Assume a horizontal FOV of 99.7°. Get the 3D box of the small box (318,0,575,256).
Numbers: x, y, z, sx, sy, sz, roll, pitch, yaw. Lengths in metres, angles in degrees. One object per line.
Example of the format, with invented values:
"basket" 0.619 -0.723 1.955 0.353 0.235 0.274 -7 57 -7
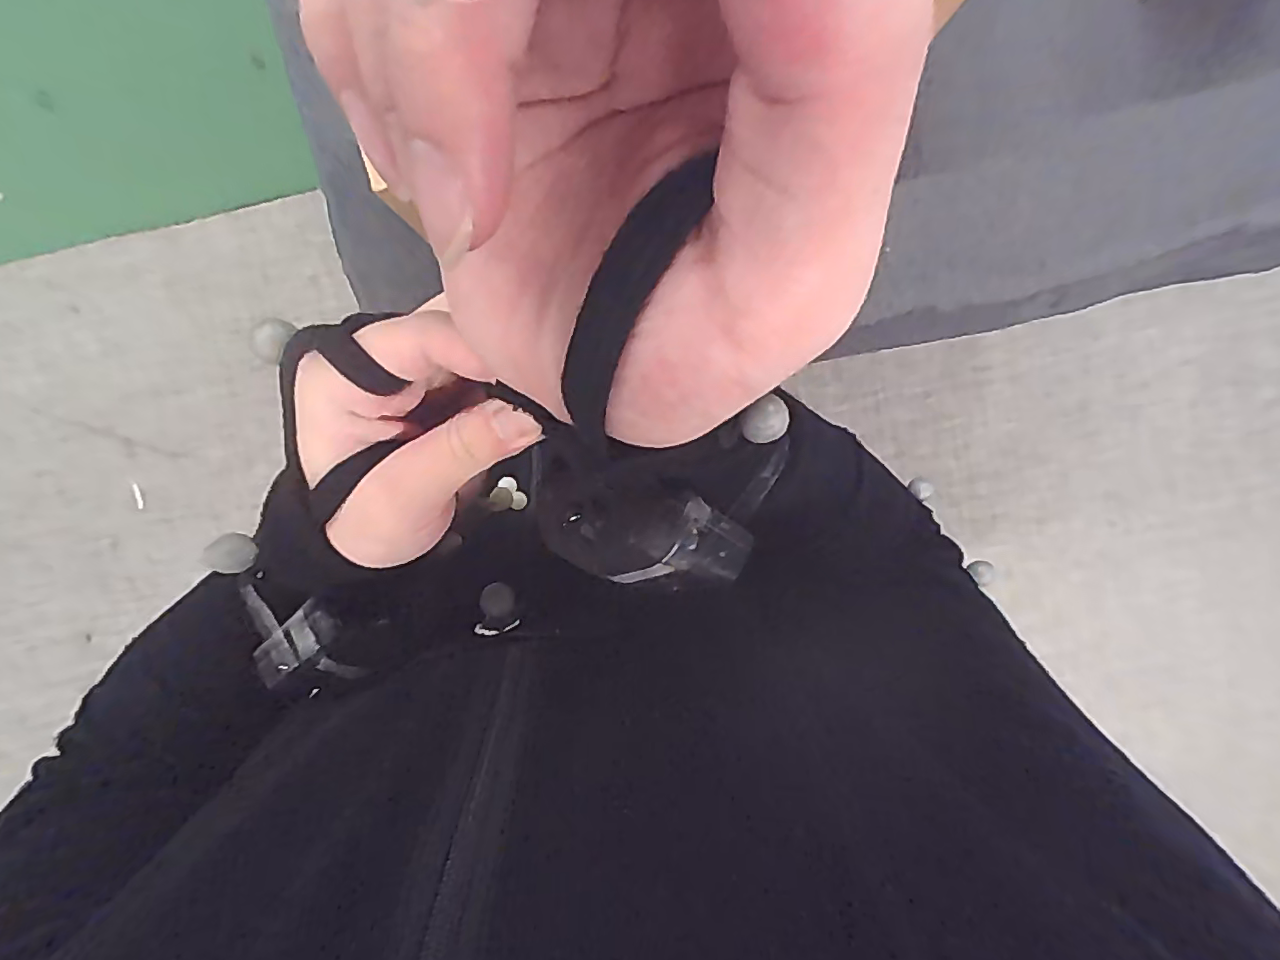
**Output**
"small box" -0.169 -0.348 0.527 0.168 0.176 0.179 -15 95 1
